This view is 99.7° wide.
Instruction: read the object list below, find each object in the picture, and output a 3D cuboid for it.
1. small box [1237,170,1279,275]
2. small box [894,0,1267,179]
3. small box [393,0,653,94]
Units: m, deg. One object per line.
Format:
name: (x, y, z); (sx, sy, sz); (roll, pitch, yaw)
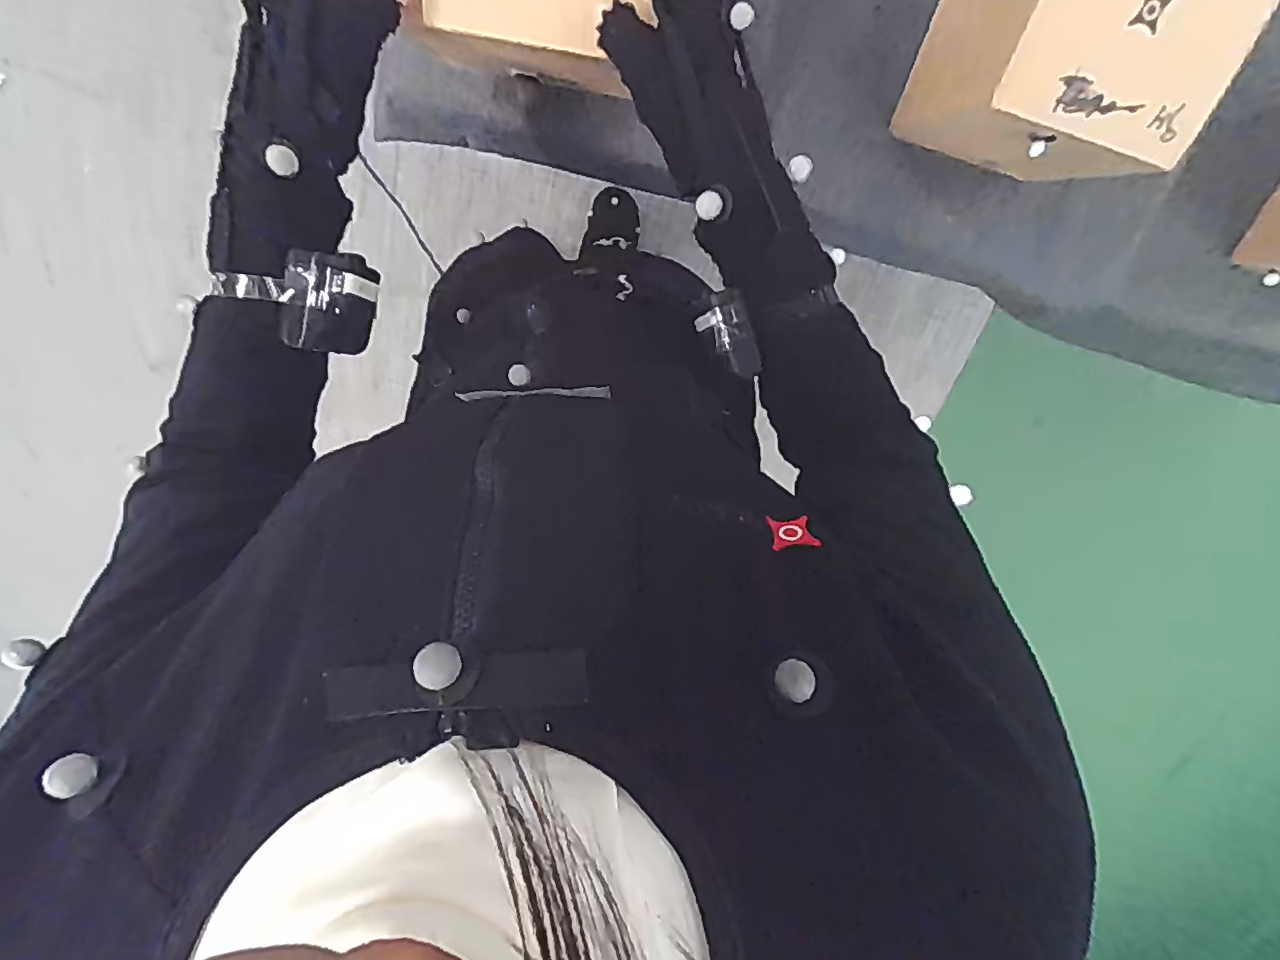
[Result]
small box: (0.748, -0.270, 0.509); (0.168, 0.176, 0.179); (12, 114, -9)
small box: (0.344, -0.366, 0.441); (0.168, 0.176, 0.179); (12, 115, -9)
small box: (-0.065, -0.370, 0.335); (0.168, 0.176, 0.179); (8, 118, -6)
